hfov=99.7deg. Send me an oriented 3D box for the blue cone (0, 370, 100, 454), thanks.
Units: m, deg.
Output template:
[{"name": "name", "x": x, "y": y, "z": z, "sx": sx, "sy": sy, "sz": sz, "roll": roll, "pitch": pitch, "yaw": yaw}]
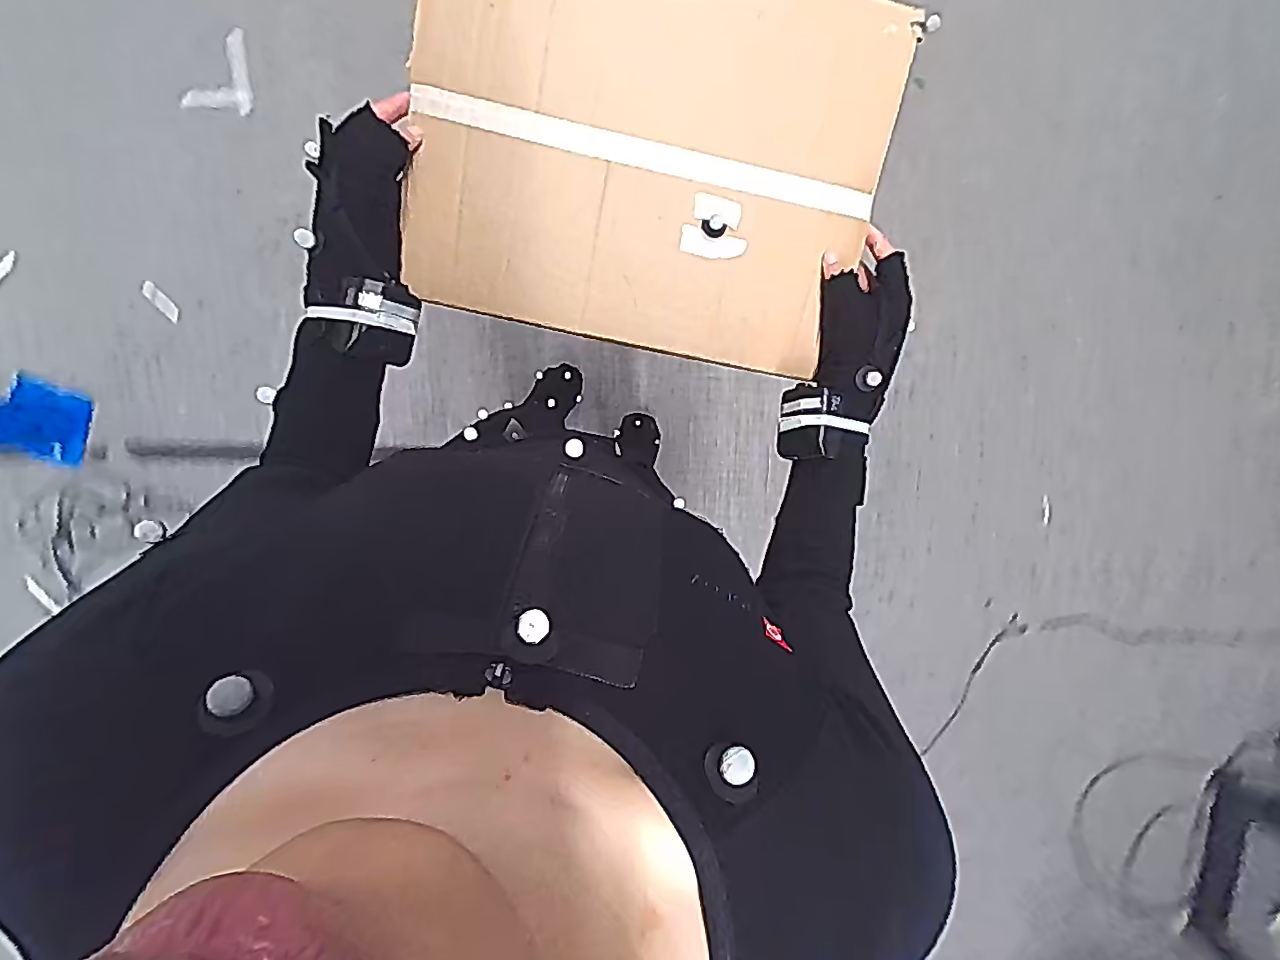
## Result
[{"name": "blue cone", "x": -1.540, "y": -0.153, "z": 1.275, "sx": 0.192, "sy": 0.380, "sz": 0.193, "roll": 22, "pitch": 98, "yaw": -4}]
